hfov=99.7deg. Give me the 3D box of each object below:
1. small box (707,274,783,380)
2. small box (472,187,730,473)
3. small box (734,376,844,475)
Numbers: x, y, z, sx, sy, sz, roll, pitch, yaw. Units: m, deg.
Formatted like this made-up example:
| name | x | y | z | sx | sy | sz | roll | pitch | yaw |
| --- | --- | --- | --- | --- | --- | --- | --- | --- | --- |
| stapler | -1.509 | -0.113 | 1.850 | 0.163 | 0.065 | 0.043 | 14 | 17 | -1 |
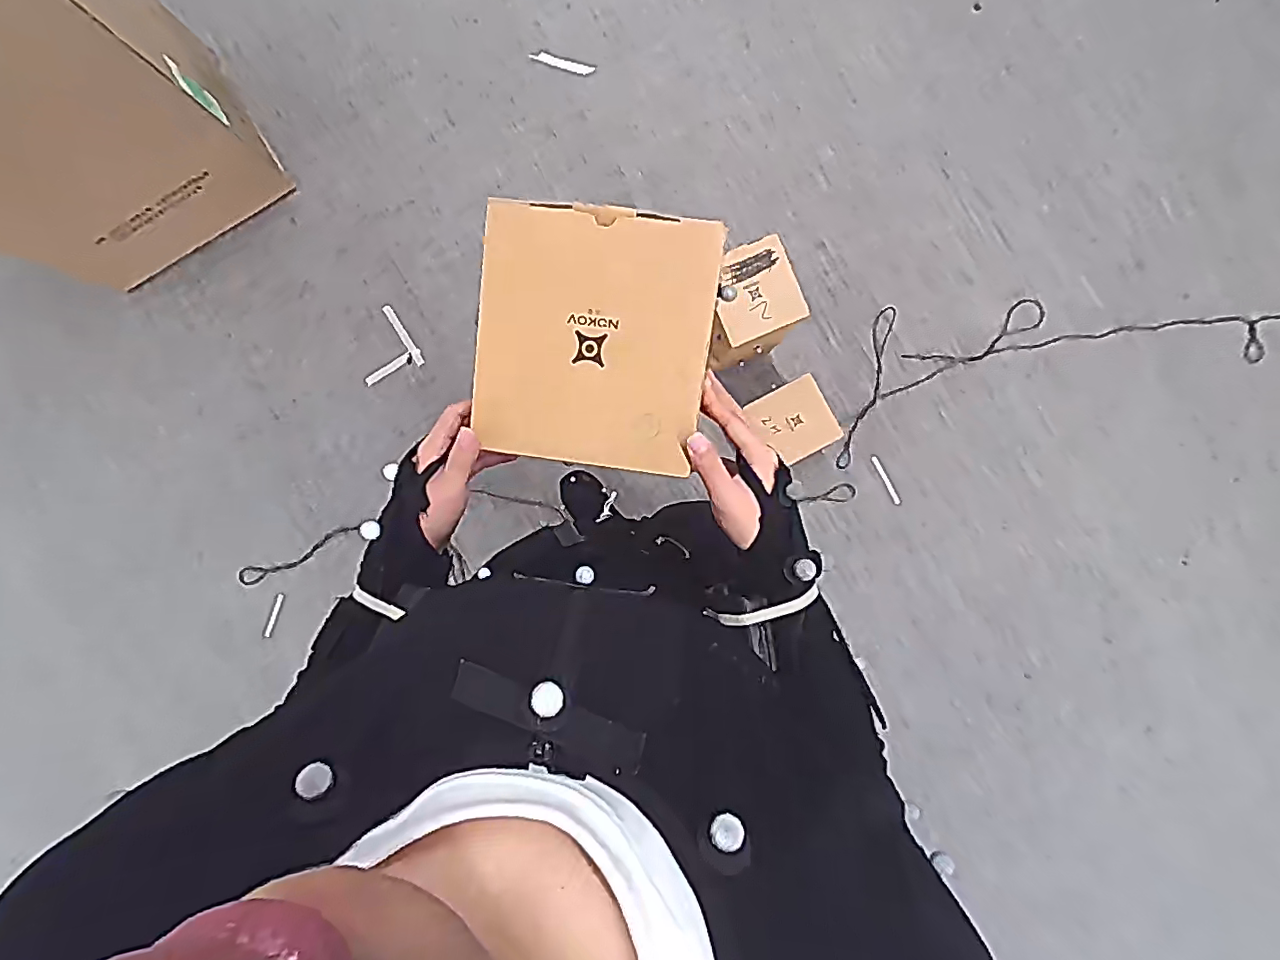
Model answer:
| name | x | y | z | sx | sy | sz | roll | pitch | yaw |
| --- | --- | --- | --- | --- | --- | --- | --- | --- | --- |
| small box | 0.211 | -0.353 | 1.279 | 0.179 | 0.176 | 0.168 | -22 | 90 | 2 |
| small box | -0.024 | -0.113 | 0.447 | 0.168 | 0.176 | 0.179 | 8 | 100 | 4 |
| small box | 0.343 | -0.123 | 1.280 | 0.179 | 0.176 | 0.168 | -28 | 89 | 1 |
